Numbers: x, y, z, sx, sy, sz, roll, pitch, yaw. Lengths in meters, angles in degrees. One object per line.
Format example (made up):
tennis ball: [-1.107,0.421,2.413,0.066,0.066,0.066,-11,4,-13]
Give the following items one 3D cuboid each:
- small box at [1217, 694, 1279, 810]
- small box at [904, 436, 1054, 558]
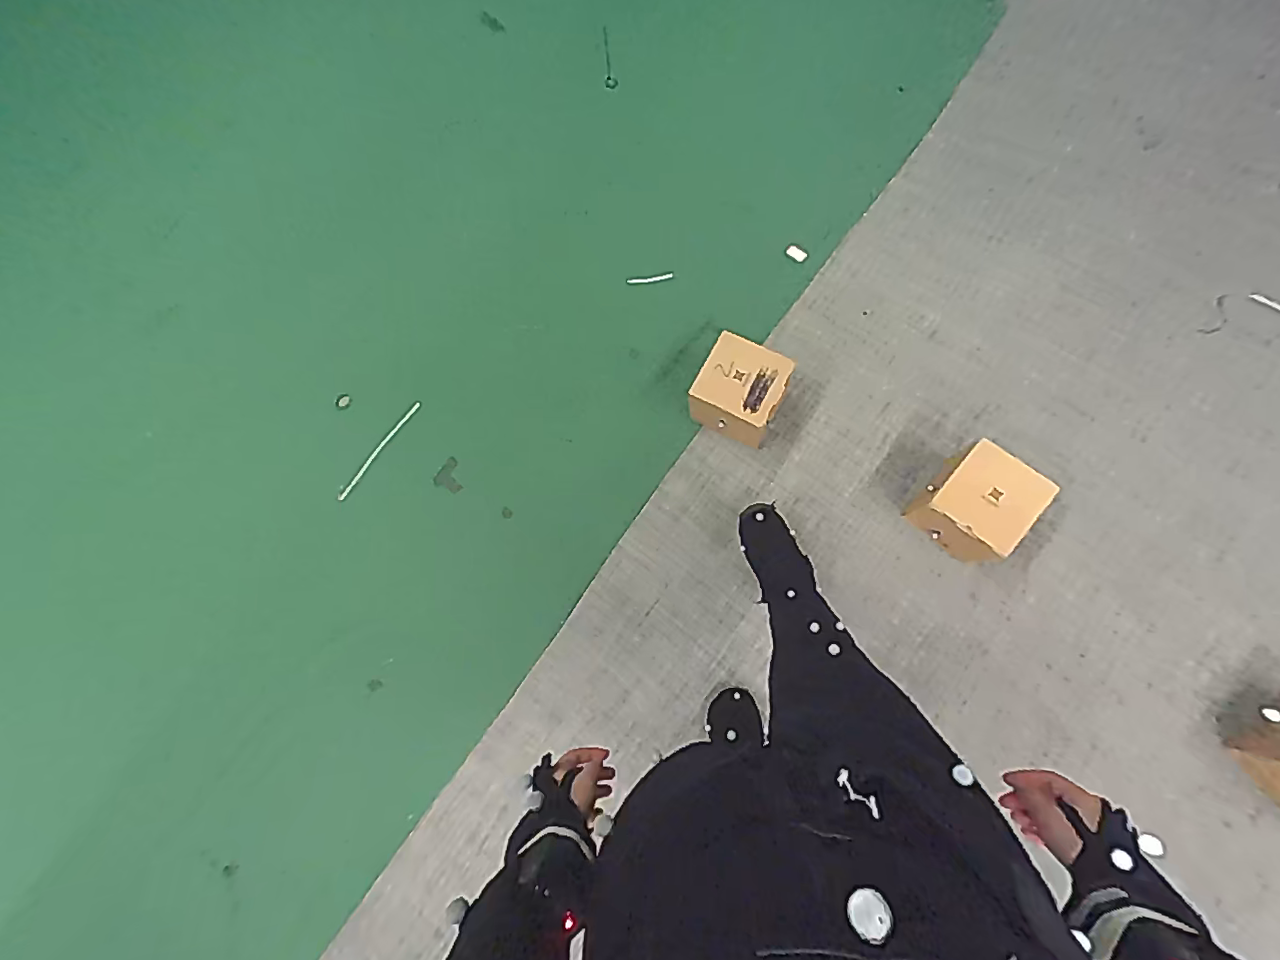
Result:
small box: [1.206,0.503,0.942,0.168,0.176,0.179,-37,75,-3]
small box: [0.679,0.042,1.109,0.168,0.176,0.179,39,86,13]
